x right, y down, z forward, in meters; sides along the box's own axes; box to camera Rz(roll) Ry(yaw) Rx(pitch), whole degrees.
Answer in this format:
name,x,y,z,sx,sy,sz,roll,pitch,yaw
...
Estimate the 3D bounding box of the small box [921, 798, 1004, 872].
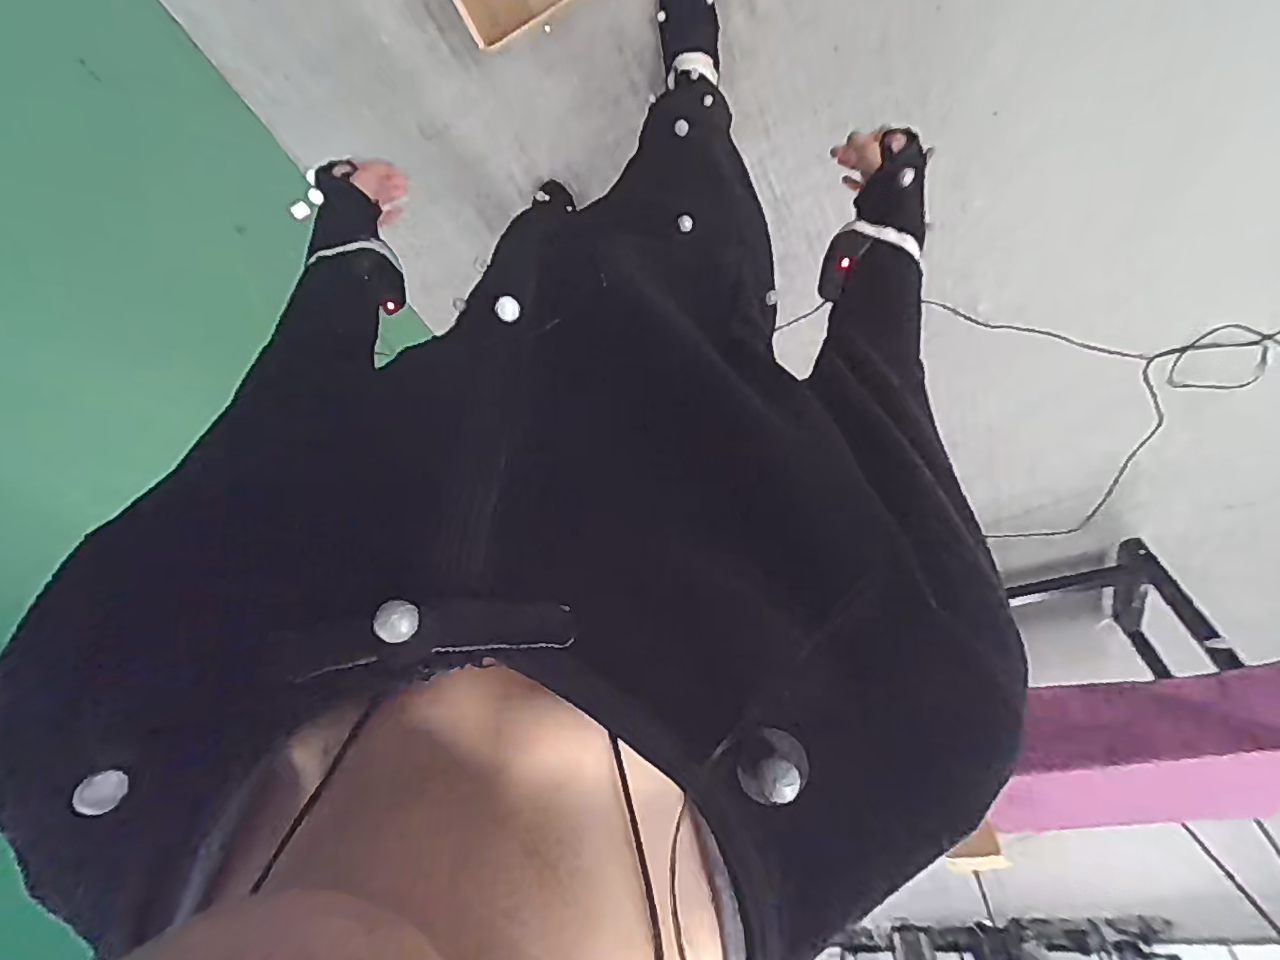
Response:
name,x,y,z,sx,sy,sz,roll,pitch,yaw
small box,1.047,1.155,1.761,0.179,0.176,0.168,-21,128,21
